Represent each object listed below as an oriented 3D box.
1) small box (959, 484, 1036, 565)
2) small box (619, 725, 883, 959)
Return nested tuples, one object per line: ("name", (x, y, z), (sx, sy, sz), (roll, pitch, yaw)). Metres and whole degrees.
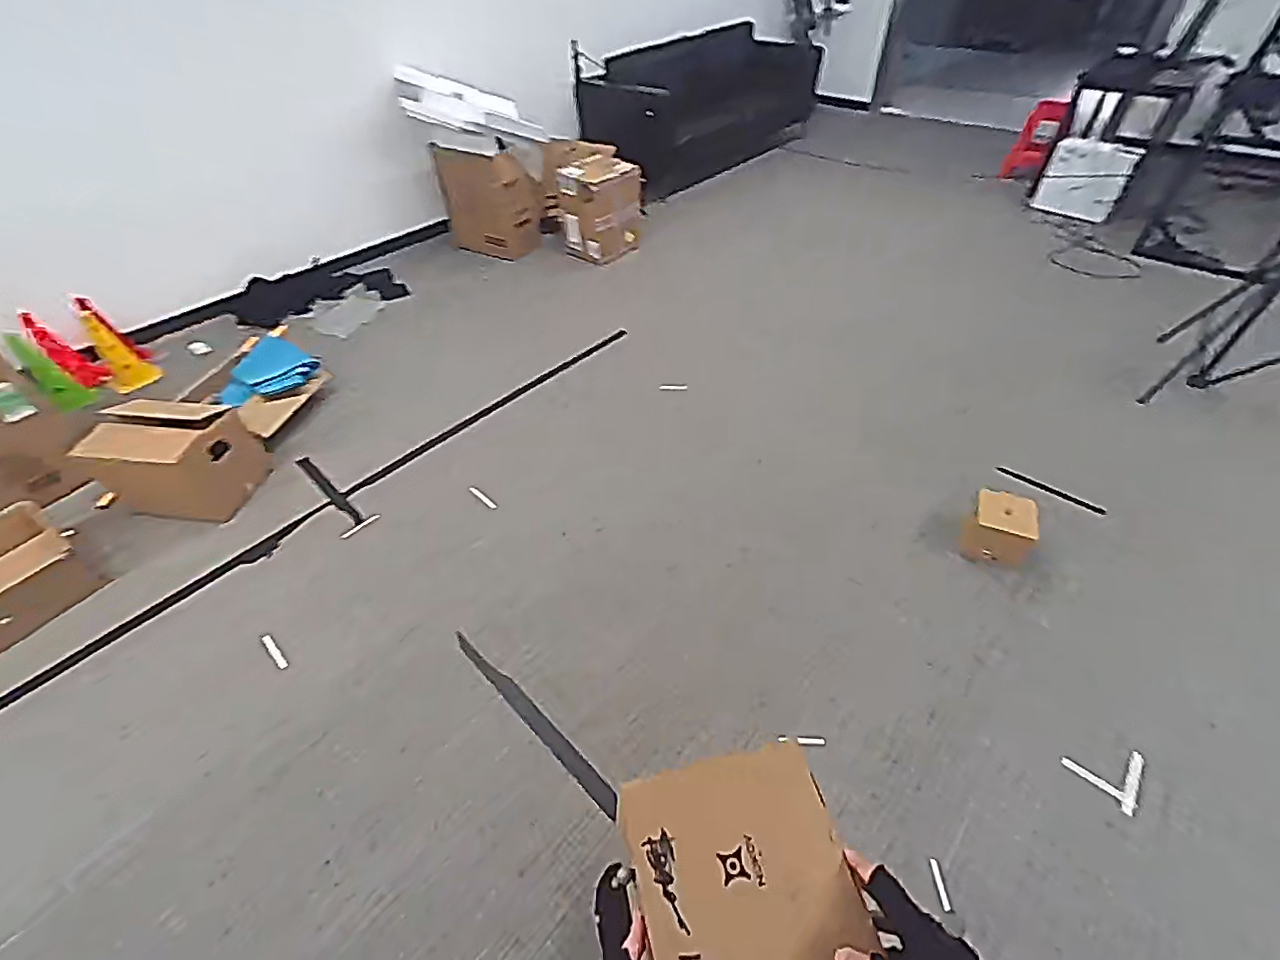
("small box", (1.177, 0.148, 1.790), (0.168, 0.176, 0.179), (16, 49, 19))
("small box", (0.081, 0.353, 0.504), (0.179, 0.176, 0.168), (-7, 48, -11))
